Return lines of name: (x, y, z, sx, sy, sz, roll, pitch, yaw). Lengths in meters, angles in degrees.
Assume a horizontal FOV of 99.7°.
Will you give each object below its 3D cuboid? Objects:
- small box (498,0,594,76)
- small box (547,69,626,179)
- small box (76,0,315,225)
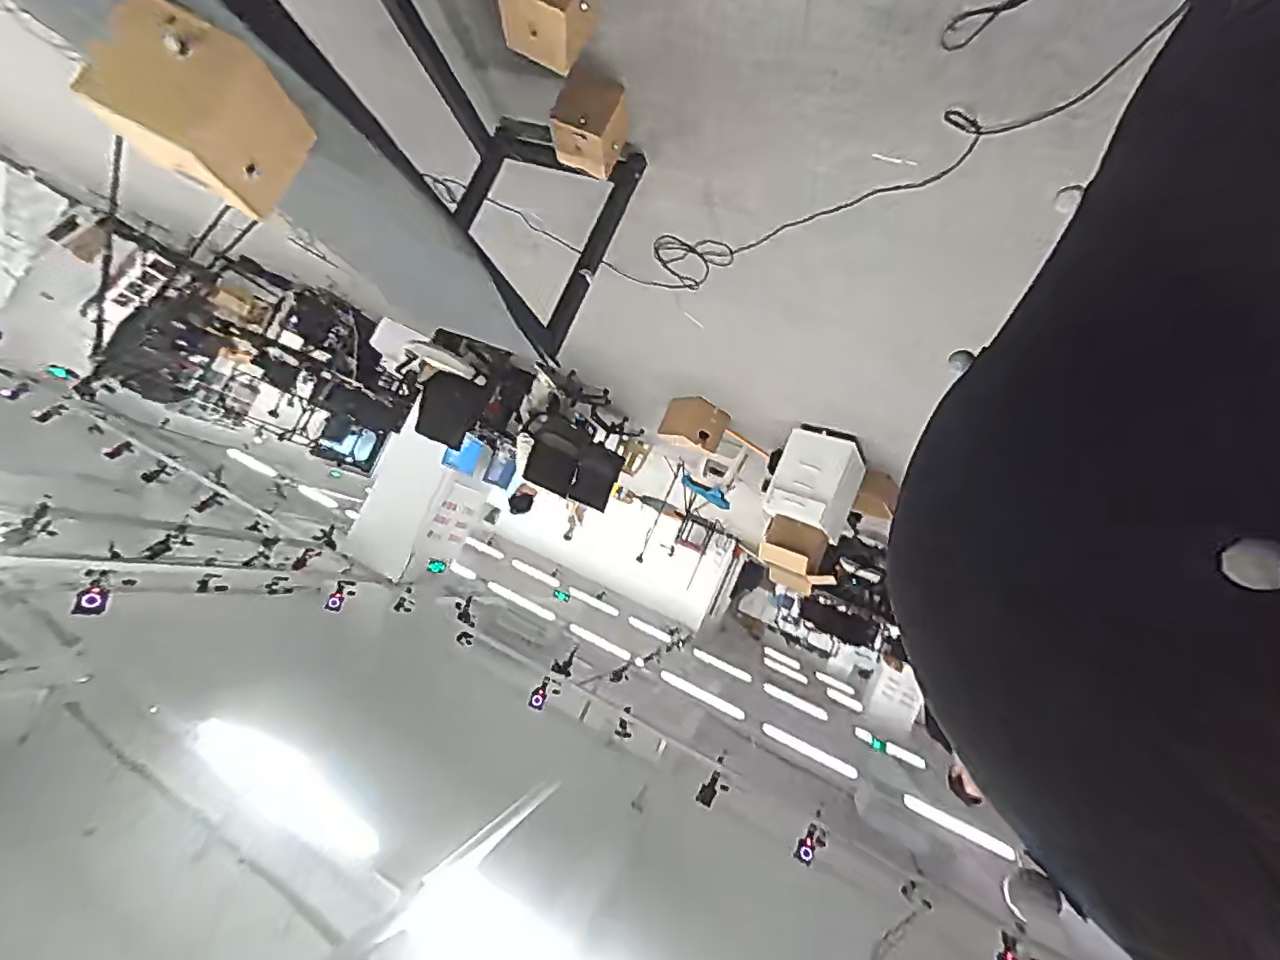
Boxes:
small box: (-0.210, -1.094, 1.234, 0.168, 0.176, 0.179, 25, 175, -4)
small box: (-0.147, -1.029, 1.569, 0.168, 0.176, 0.179, 23, 175, 4)
small box: (-0.616, -0.518, 0.779, 0.168, 0.176, 0.179, 26, 175, -4)
